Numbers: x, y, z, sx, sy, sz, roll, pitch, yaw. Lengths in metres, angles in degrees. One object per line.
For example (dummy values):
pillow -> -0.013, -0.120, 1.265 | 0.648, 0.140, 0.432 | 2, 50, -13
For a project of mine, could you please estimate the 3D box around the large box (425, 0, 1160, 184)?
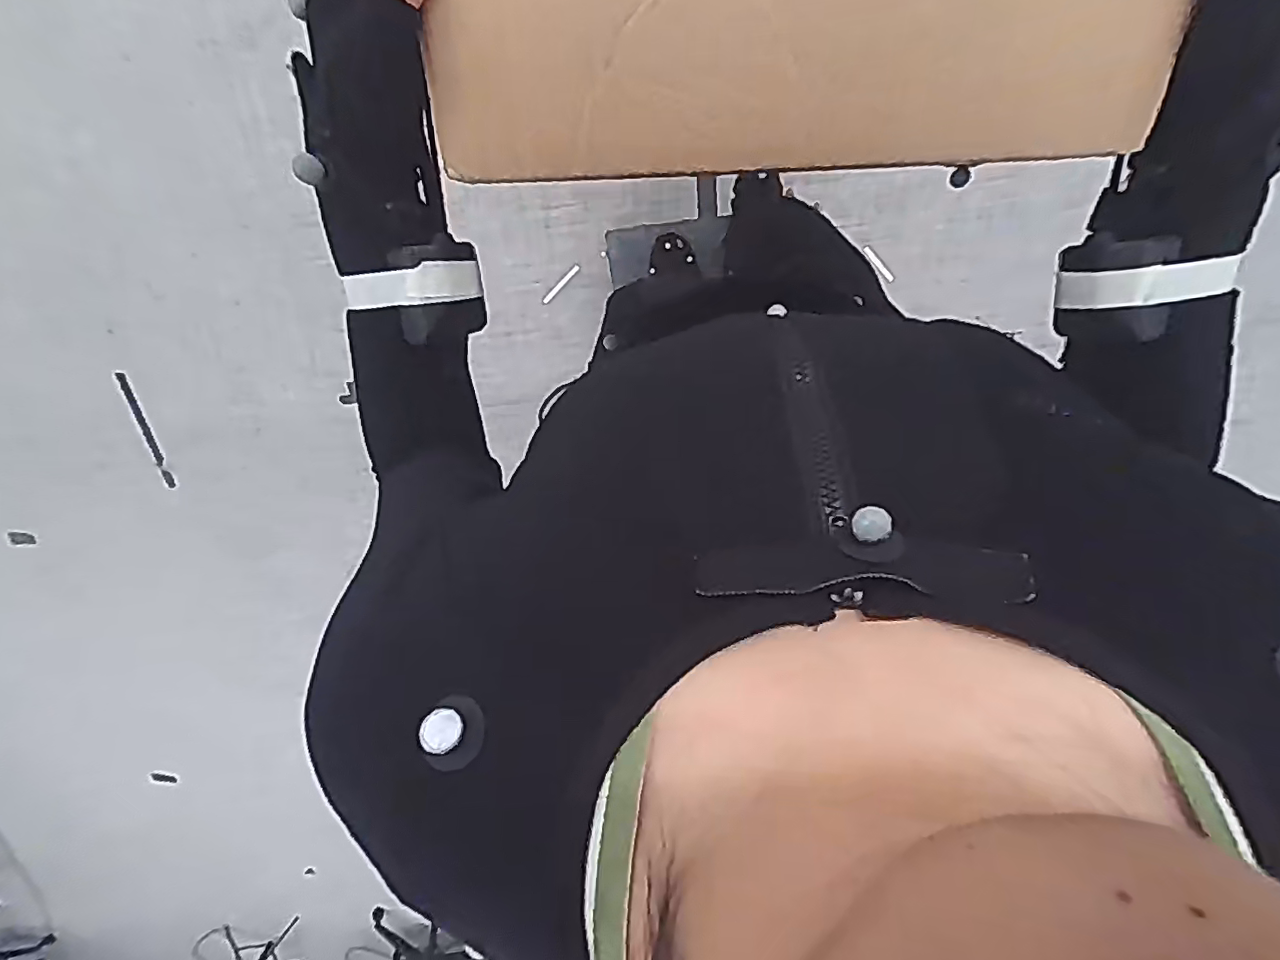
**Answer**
large box -> 0.081, -0.401, 0.377 | 0.408, 0.320, 0.320 | -1, 121, 1
